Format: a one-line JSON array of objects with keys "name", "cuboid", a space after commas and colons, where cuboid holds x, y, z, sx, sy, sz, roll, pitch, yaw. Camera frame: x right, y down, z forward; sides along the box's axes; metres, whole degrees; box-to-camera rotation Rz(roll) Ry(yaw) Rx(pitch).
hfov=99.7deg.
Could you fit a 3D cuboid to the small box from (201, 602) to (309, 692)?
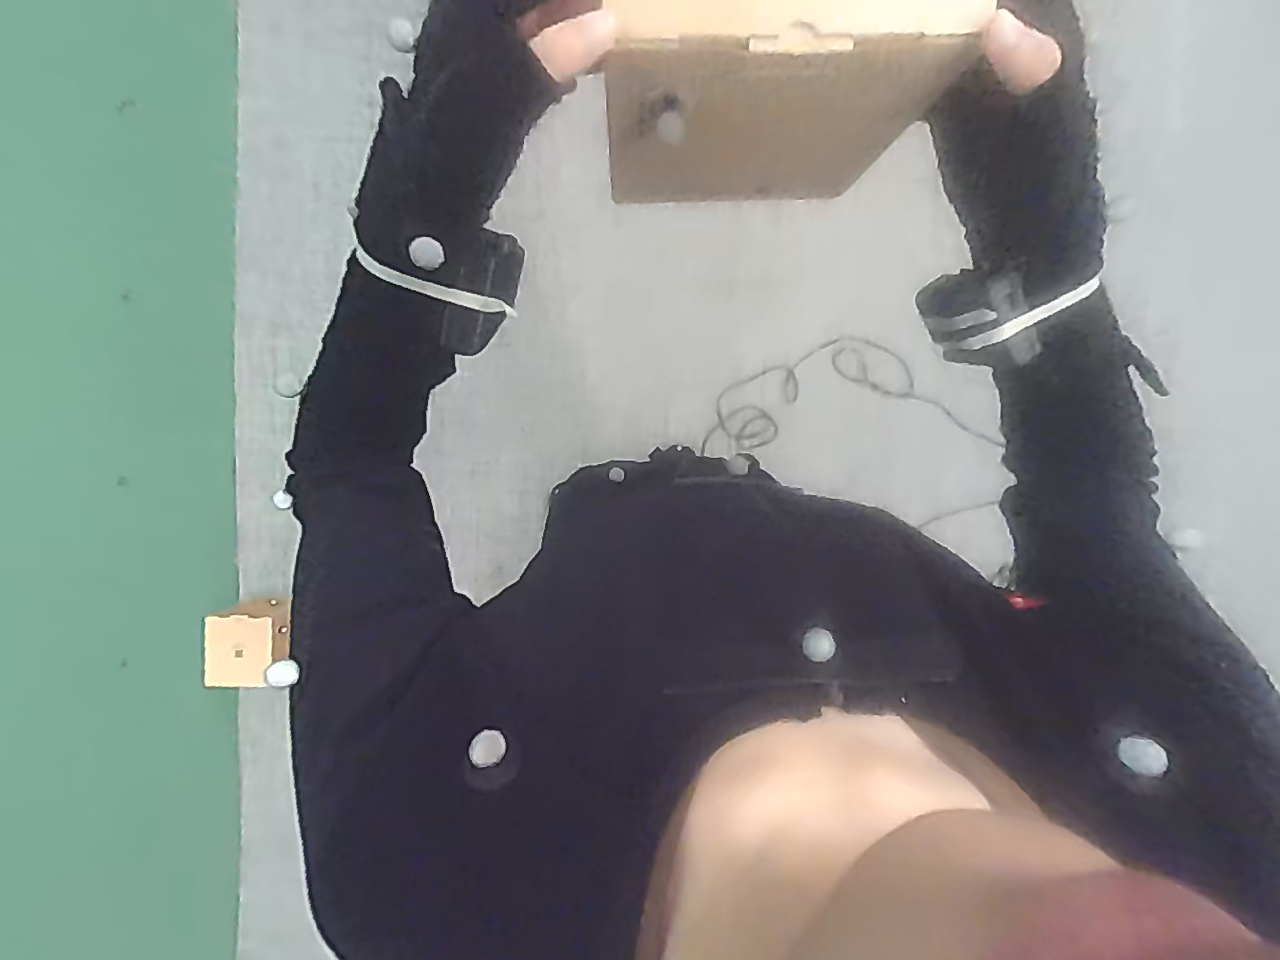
[{"name": "small box", "cuboid": [-0.976, 0.422, 1.383, 0.168, 0.176, 0.179, 2, 91, -2]}]
